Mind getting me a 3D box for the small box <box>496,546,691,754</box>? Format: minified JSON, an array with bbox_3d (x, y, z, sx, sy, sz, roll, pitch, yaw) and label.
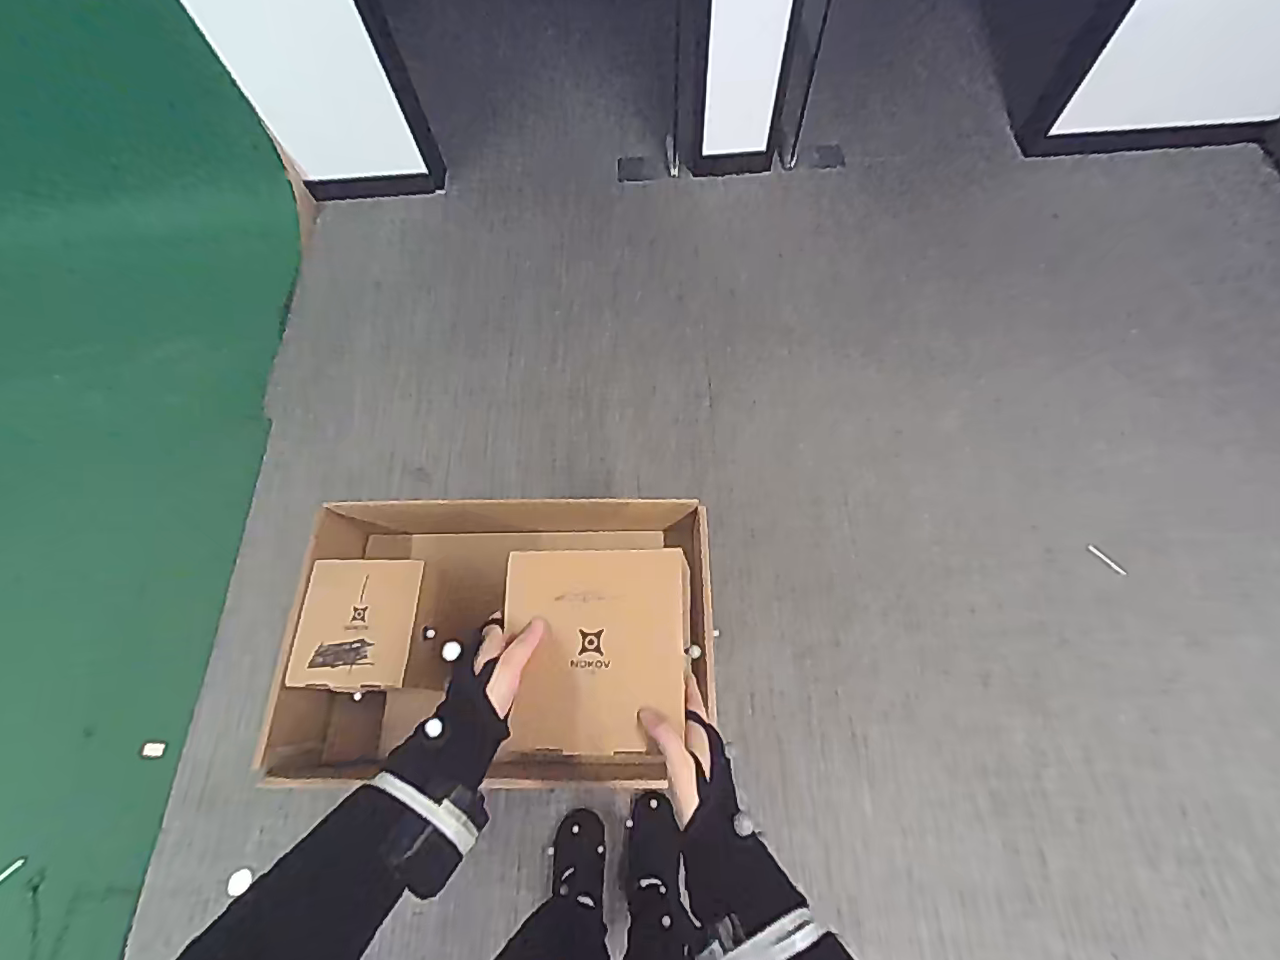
[{"bbox_3d":[-0.033,0.167,0.560,0.168,0.176,0.179,-1,74,8],"label":"small box"}]
